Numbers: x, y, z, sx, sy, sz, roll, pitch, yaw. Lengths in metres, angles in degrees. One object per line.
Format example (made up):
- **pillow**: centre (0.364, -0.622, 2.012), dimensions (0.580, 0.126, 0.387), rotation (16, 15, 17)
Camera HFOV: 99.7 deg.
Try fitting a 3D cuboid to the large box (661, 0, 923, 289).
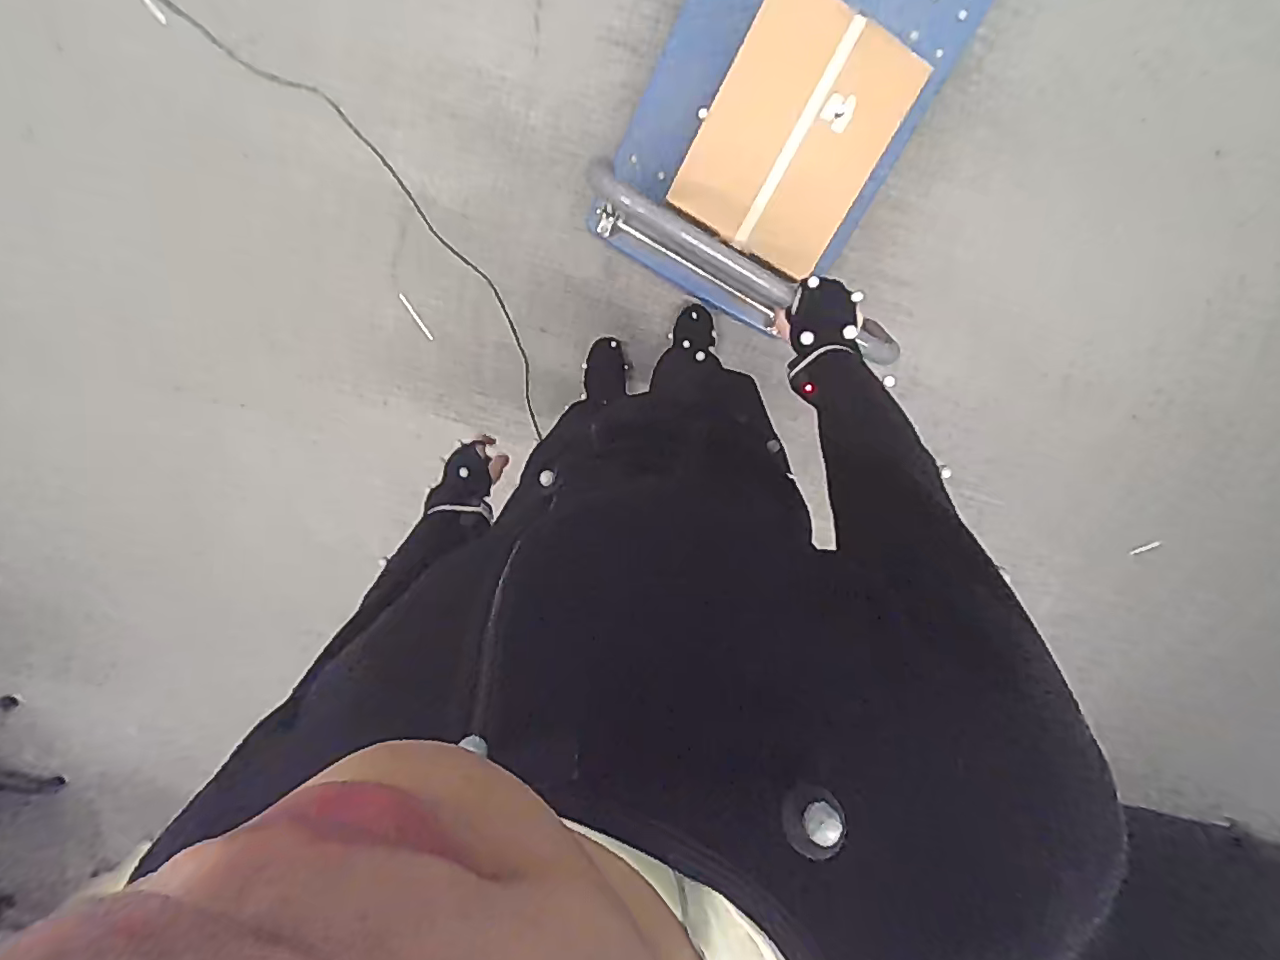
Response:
- **large box**: centre (0.271, -0.655, 1.117), dimensions (0.320, 0.320, 0.408), rotation (27, 106, -10)
